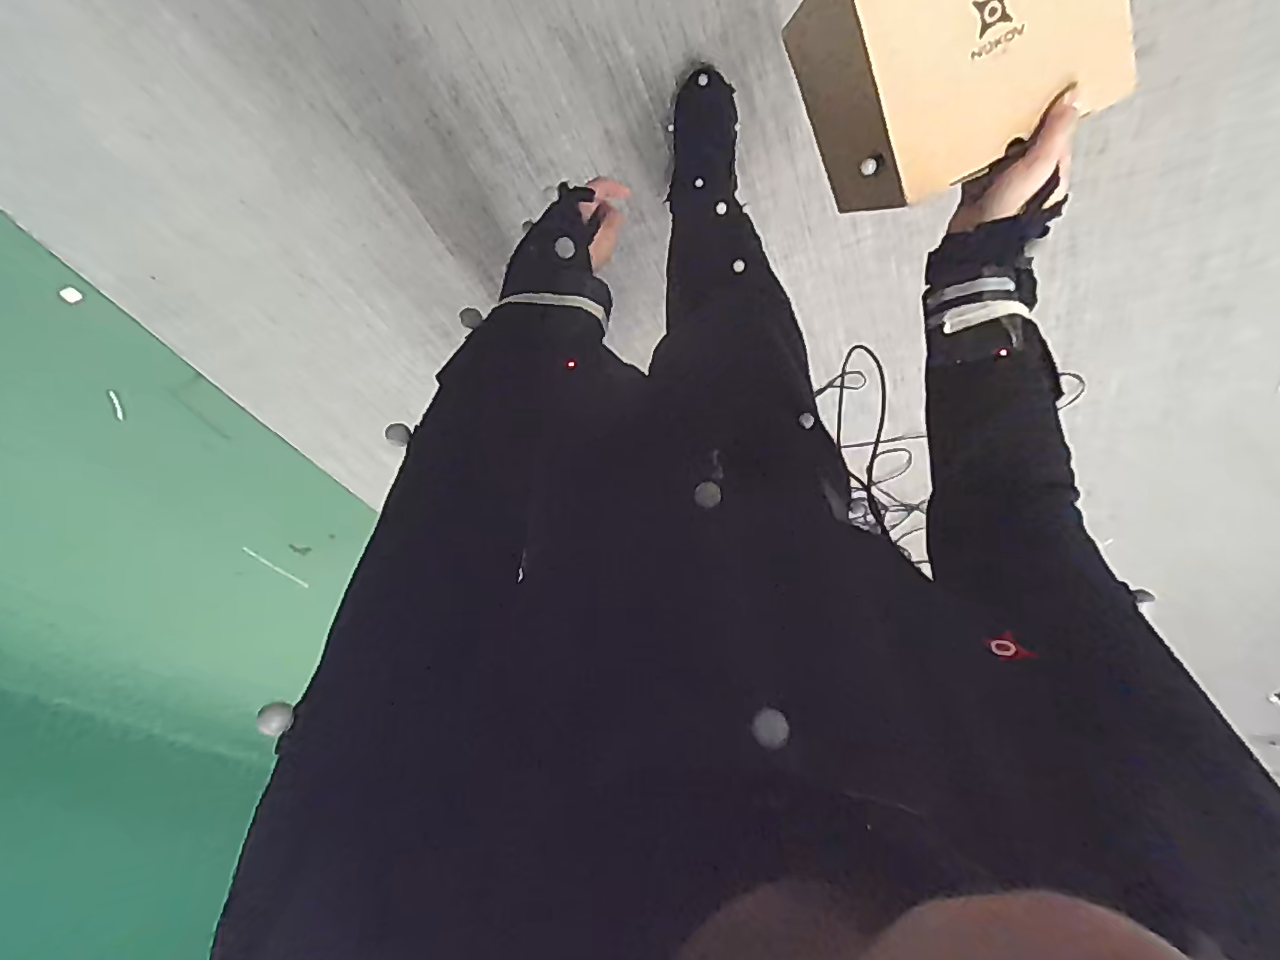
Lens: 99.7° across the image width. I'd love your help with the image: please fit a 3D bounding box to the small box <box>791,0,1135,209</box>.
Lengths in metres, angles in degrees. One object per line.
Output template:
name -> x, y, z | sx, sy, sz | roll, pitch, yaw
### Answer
small box -> 0.243, -0.347, 0.444 | 0.168, 0.176, 0.179 | -25, 112, 12
